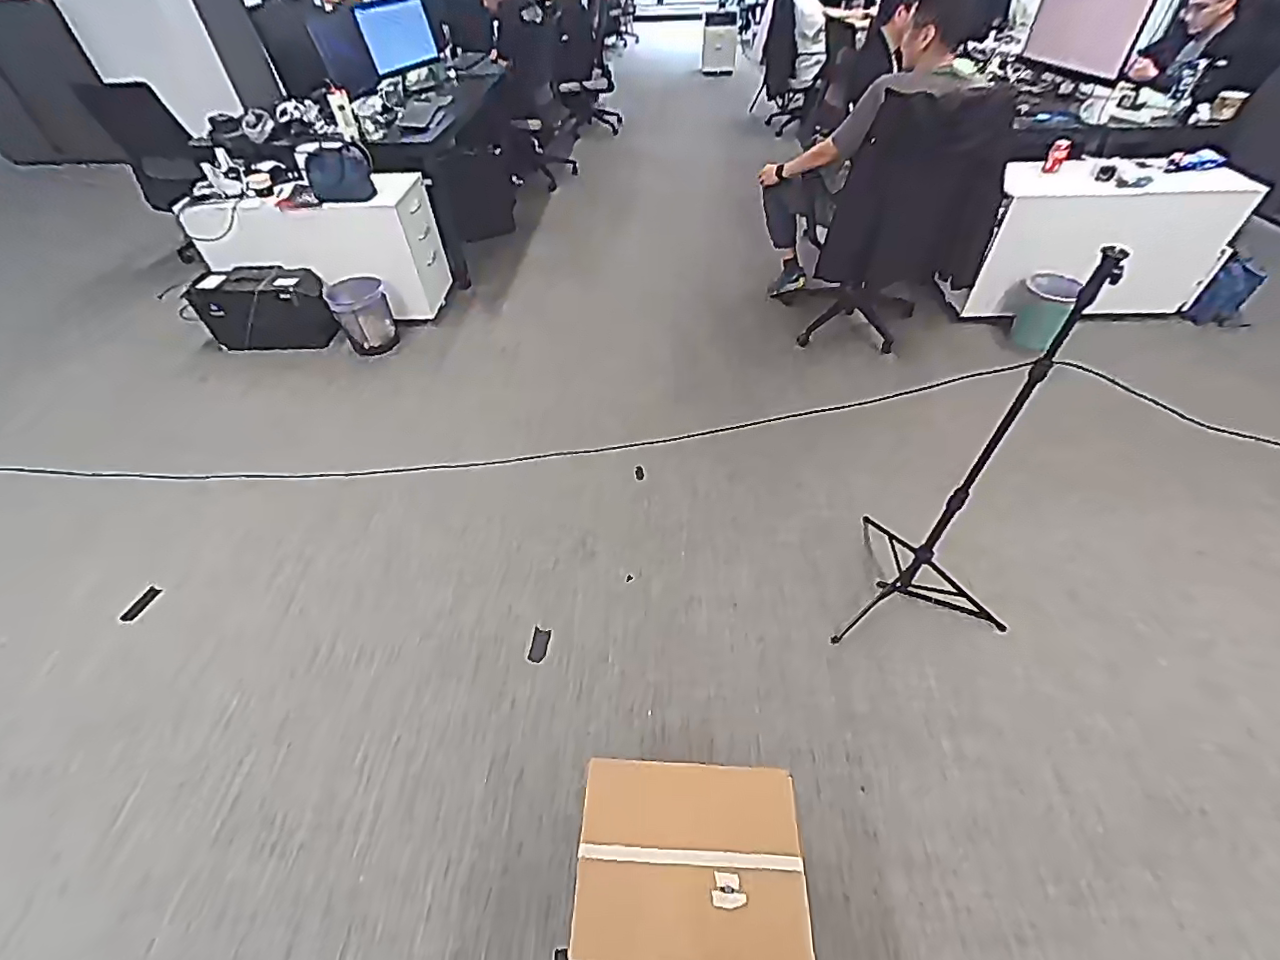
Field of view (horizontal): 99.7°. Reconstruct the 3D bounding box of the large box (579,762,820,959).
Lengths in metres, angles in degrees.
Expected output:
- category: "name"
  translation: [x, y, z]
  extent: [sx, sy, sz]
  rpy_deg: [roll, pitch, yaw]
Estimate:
- category: "large box"
  translation: [0.105, 0.790, 1.088]
  extent: [0.408, 0.320, 0.320]
  rpy_deg: [2, 47, 3]
